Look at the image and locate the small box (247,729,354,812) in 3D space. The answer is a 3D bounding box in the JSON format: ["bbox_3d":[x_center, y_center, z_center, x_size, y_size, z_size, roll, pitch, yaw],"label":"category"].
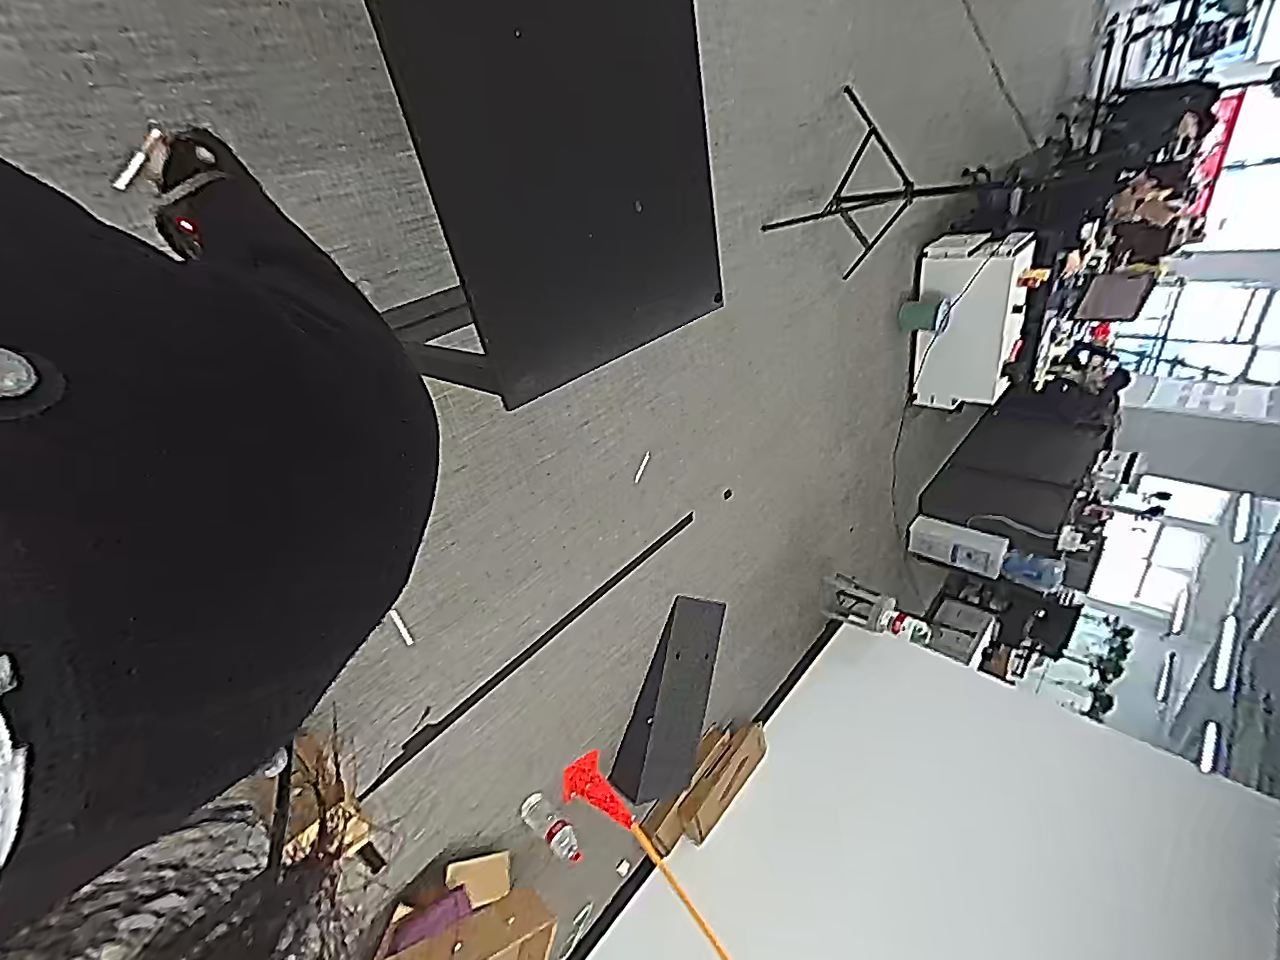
[{"bbox_3d":[-0.932,0.828,1.484,0.179,0.176,0.168,-35,127,-33],"label":"small box"}]

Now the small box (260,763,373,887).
[{"bbox_3d":[-0.819,0.864,1.370,0.168,0.176,0.179,-35,126,-34],"label":"small box"}]
